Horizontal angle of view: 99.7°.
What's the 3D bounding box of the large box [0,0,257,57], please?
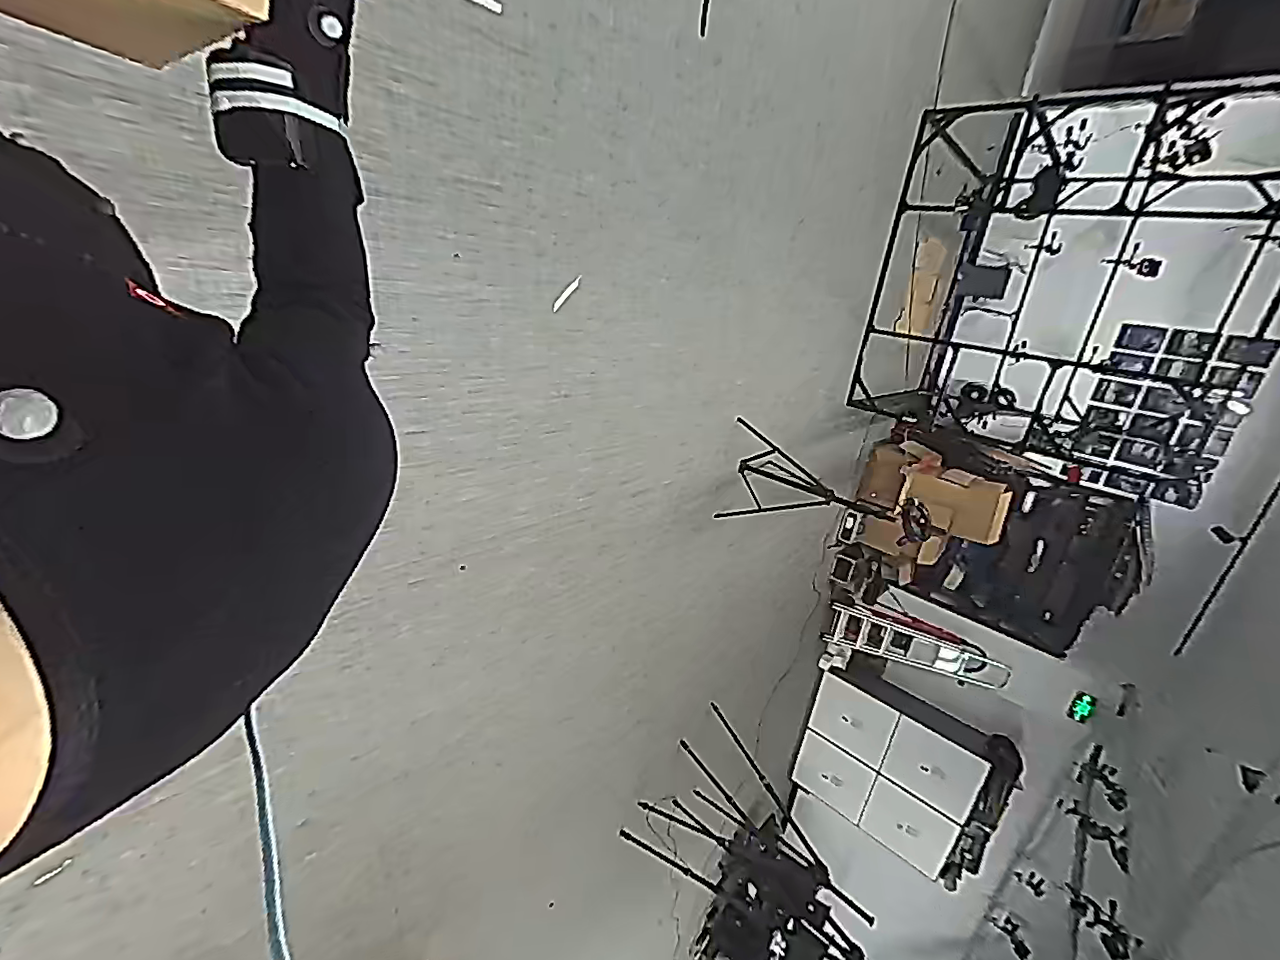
[{"bbox_3d":[-0.460,-0.480,0.248,0.408,0.320,0.320,-10,117,-50],"label":"large box"}]
